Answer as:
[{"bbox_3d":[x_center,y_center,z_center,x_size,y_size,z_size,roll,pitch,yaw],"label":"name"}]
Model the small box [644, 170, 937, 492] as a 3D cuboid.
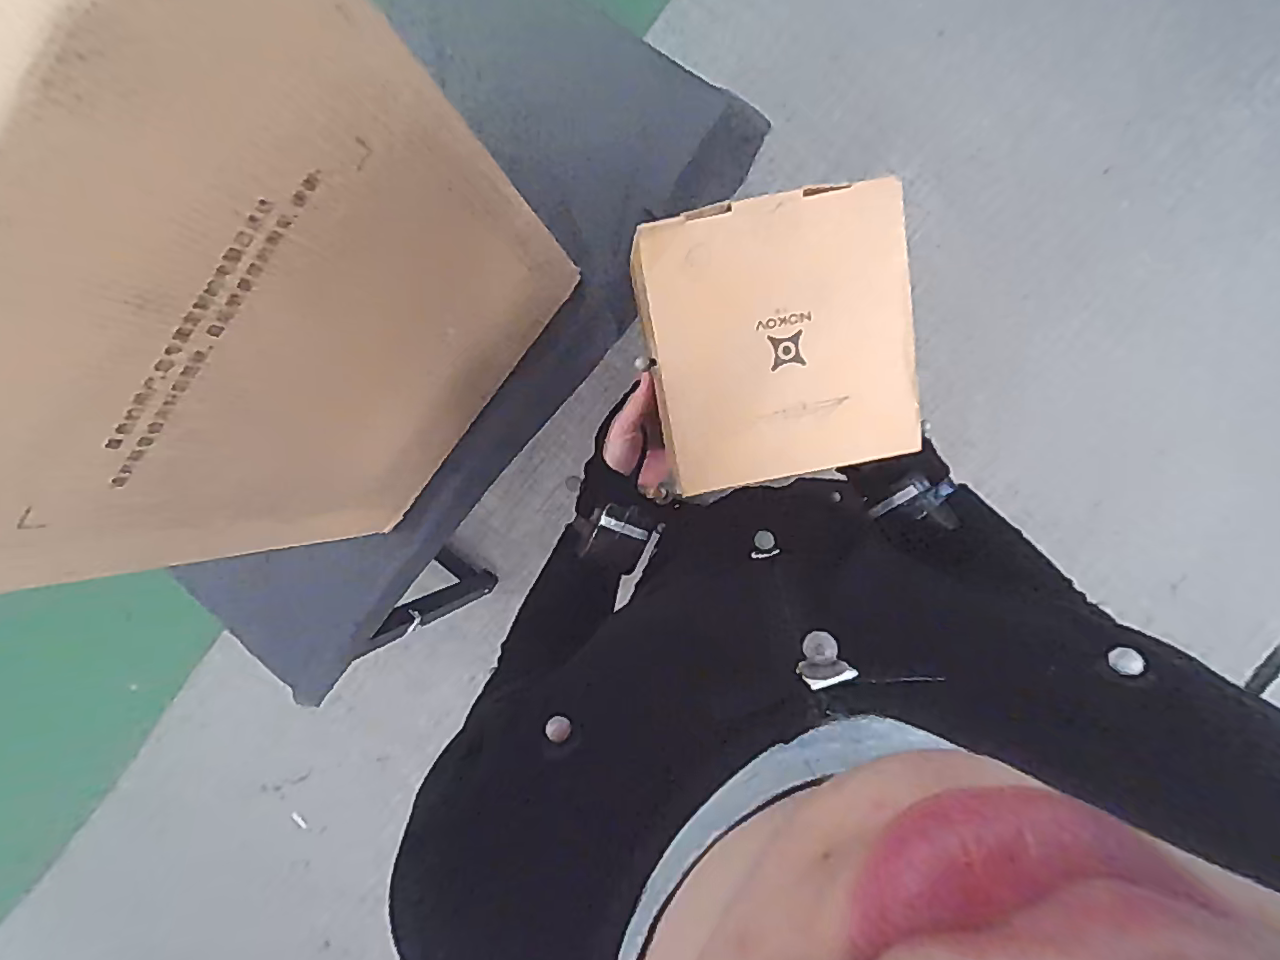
[{"bbox_3d":[0.100,-0.107,0.423,0.168,0.176,0.179,-12,104,1],"label":"small box"}]
